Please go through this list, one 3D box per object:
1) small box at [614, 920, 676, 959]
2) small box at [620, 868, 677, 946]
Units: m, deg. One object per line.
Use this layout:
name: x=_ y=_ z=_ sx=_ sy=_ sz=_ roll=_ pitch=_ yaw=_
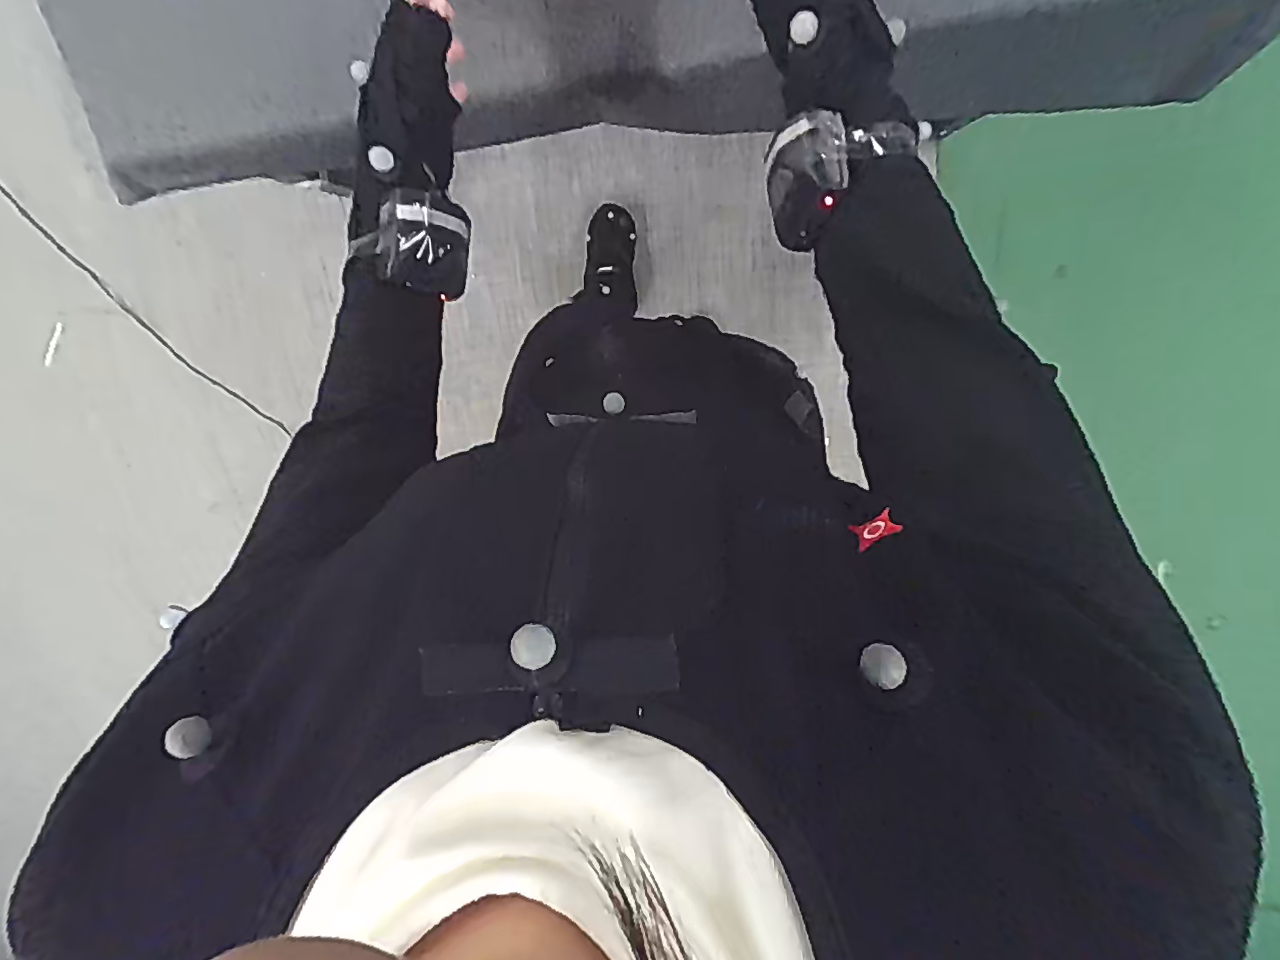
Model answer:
small box: x=0.016 y=1.558 z=1.737 sx=0.179 sy=0.176 sz=0.168 roll=-9 pitch=111 yaw=8
small box: x=0.034 y=1.509 z=1.911 sx=0.179 sy=0.176 sz=0.168 roll=-8 pitch=112 yaw=7
